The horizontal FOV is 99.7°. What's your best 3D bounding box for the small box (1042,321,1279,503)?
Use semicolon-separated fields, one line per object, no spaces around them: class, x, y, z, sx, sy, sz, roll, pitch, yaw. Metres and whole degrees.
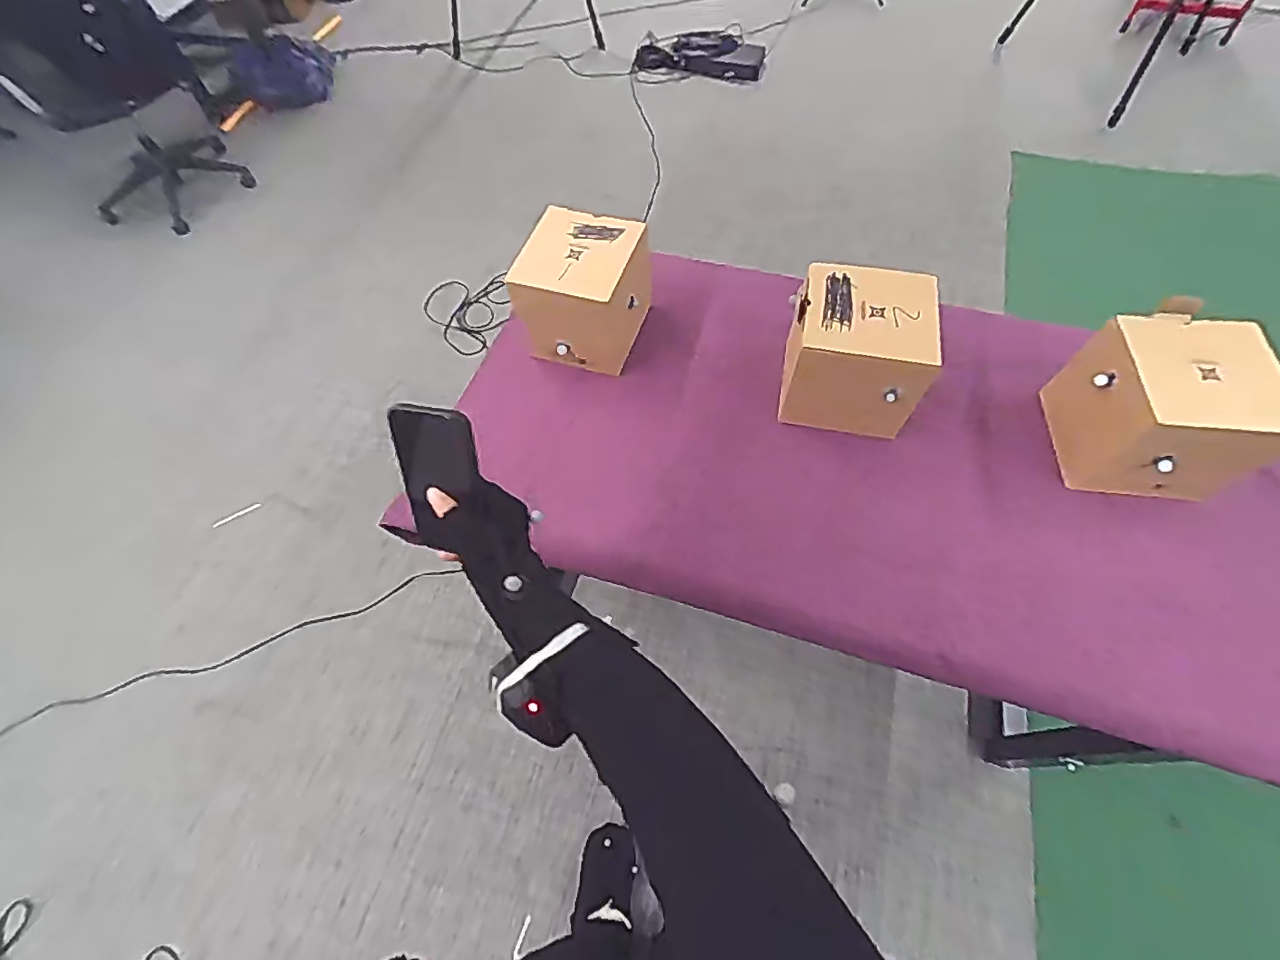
small box;0.683;-0.084;0.718;0.168;0.176;0.179;5;61;6

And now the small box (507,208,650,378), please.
small box;-0.087;-0.297;0.873;0.168;0.176;0.179;16;64;11
